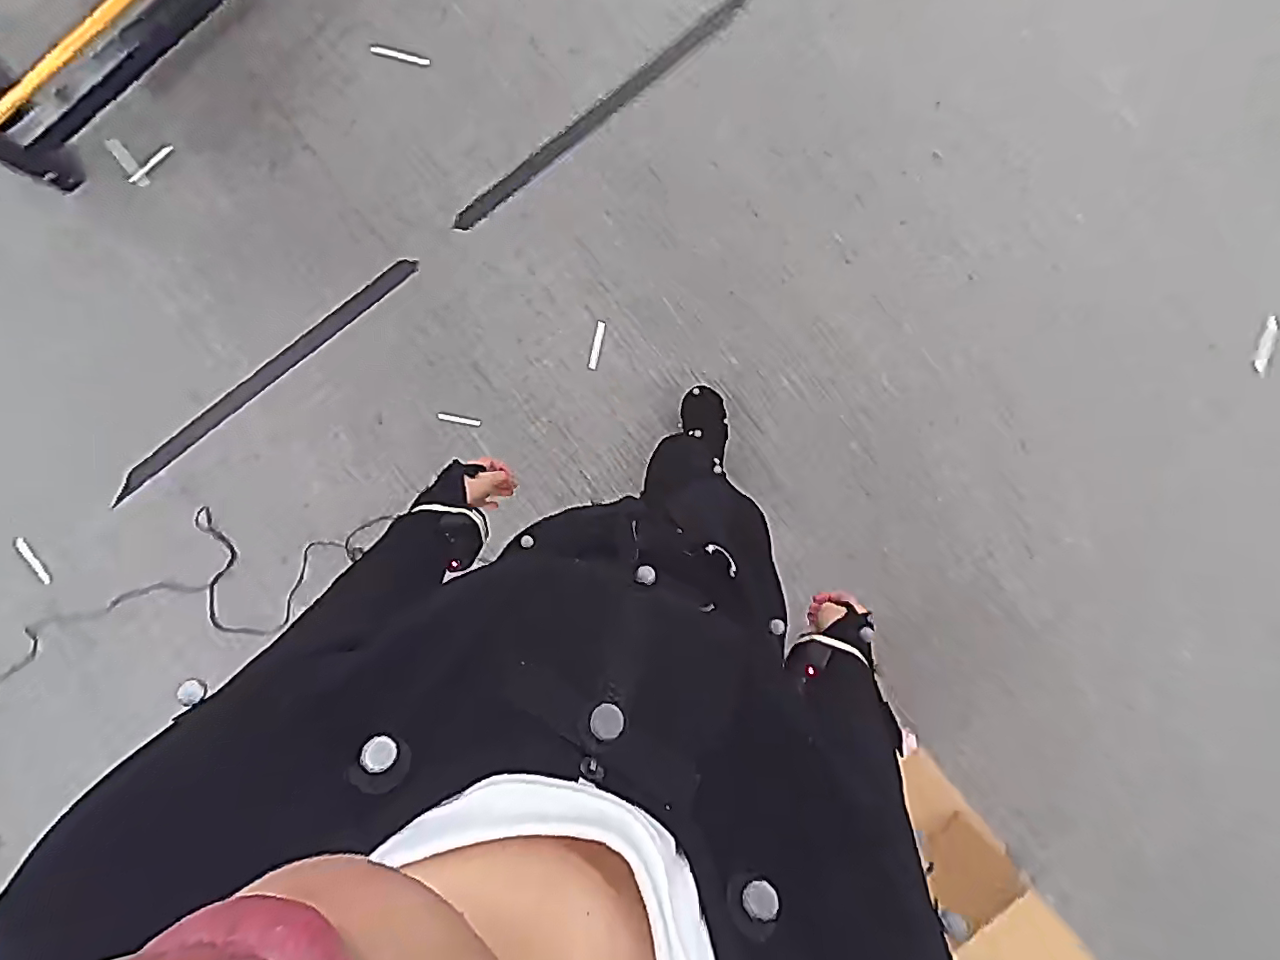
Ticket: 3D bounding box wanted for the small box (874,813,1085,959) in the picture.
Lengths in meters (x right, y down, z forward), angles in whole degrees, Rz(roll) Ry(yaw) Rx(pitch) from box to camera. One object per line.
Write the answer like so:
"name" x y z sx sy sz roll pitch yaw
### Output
"small box" 0.495 0.657 0.801 0.179 0.176 0.168 -40 90 1
